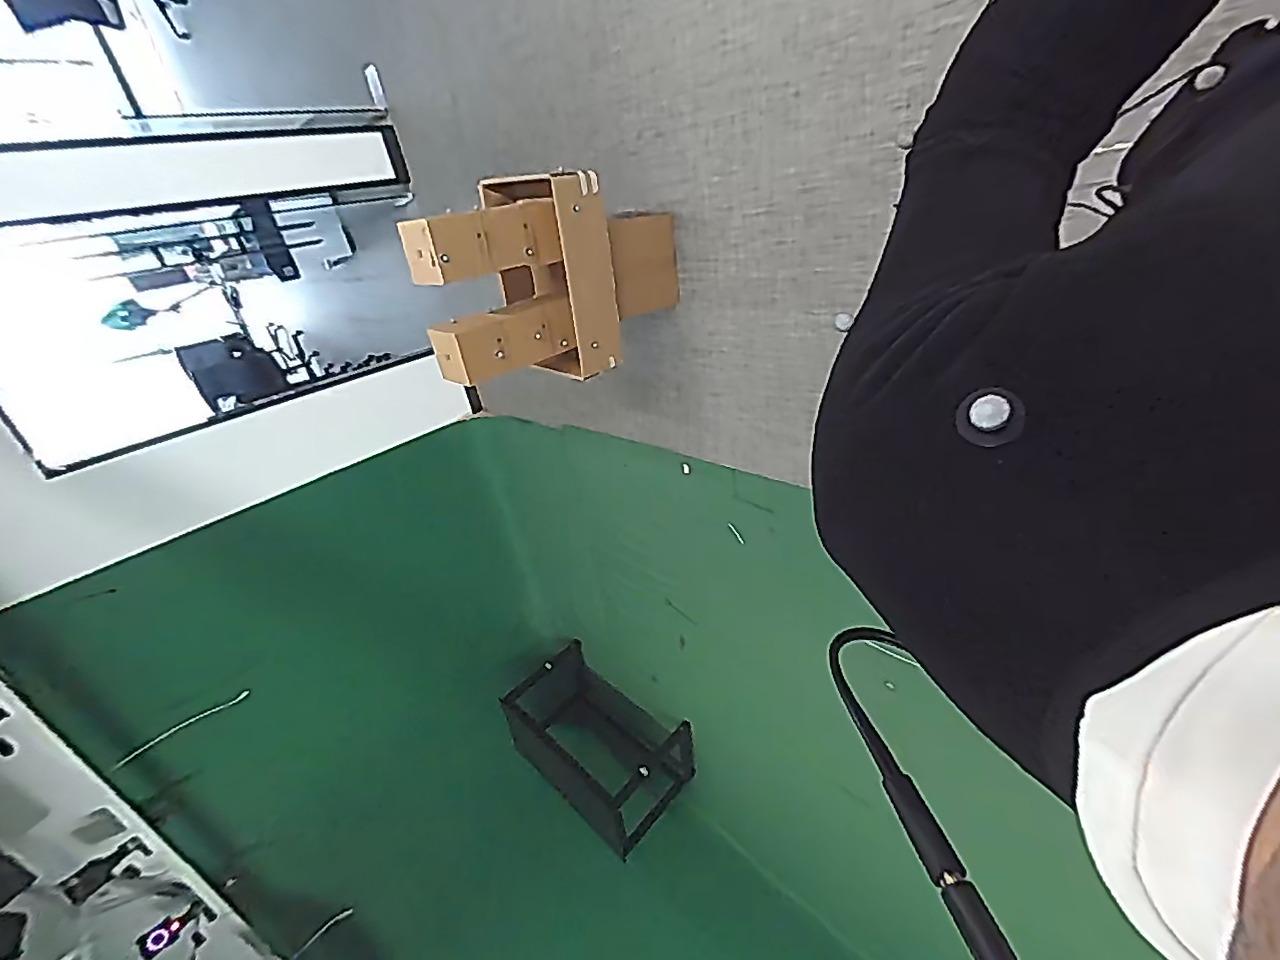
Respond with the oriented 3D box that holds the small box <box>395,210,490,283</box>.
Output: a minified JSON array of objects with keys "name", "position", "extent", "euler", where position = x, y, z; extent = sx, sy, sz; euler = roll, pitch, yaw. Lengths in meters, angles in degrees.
[{"name":"small box","position":[-0.554,-0.659,1.526],"extent":[0.179,0.176,0.168],"euler":[19,128,40]}]

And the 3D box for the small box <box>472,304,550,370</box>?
[{"name":"small box","position":[-0.423,-0.475,1.777],"extent":[0.179,0.176,0.168],"euler":[20,129,40]}]

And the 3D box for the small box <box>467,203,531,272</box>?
[{"name":"small box","position":[-0.445,-0.729,1.627],"extent":[0.179,0.176,0.168],"euler":[19,128,40]}]

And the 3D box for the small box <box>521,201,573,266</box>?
[{"name":"small box","position":[-0.337,-0.793,1.733],"extent":[0.179,0.176,0.168],"euler":[23,131,37]}]

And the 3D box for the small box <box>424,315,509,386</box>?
[{"name":"small box","position":[-0.533,-0.407,1.678],"extent":[0.179,0.176,0.168],"euler":[21,130,40]}]
